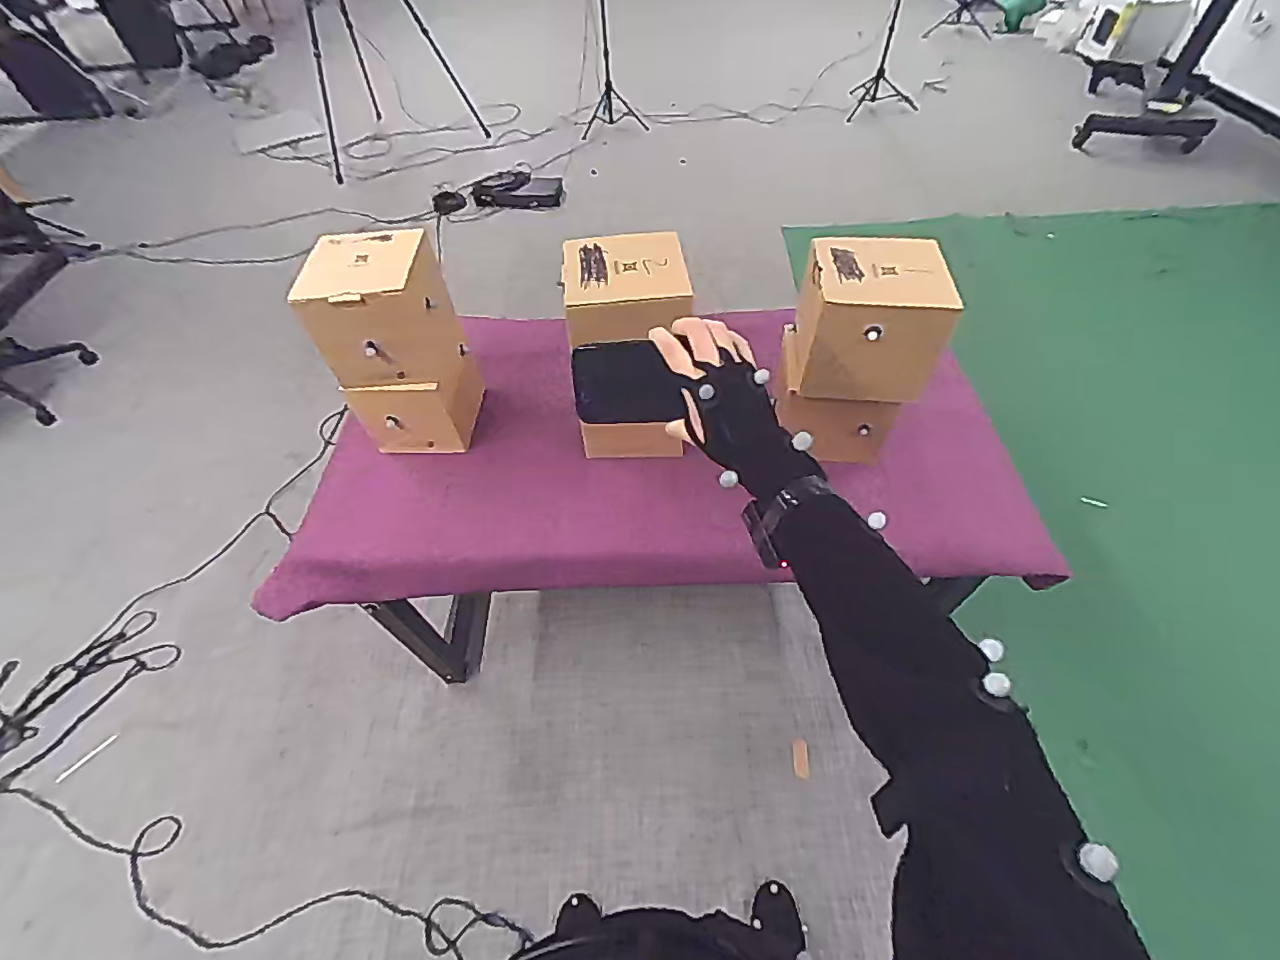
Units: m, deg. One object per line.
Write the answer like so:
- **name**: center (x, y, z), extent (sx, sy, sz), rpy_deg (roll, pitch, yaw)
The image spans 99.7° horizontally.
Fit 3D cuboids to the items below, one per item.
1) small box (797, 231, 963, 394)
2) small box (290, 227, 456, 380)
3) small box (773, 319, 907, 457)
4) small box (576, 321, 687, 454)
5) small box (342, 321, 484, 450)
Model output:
- **small box**: center (0.330, -0.242, 0.791), extent (0.179, 0.176, 0.168), rpy_deg (4, 53, 6)
- **small box**: center (-0.407, -0.273, 0.862), extent (0.168, 0.176, 0.179), rpy_deg (-4, 53, 0)
- **small box**: center (0.331, -0.155, 0.930), extent (0.179, 0.176, 0.168), rpy_deg (4, 53, 7)
- **small box**: center (-0.009, -0.159, 0.955), extent (0.179, 0.176, 0.168), rpy_deg (-1, 53, 3)
- **small box**: center (-0.398, -0.167, 0.988), extent (0.168, 0.176, 0.179), rpy_deg (-1, 53, 3)
